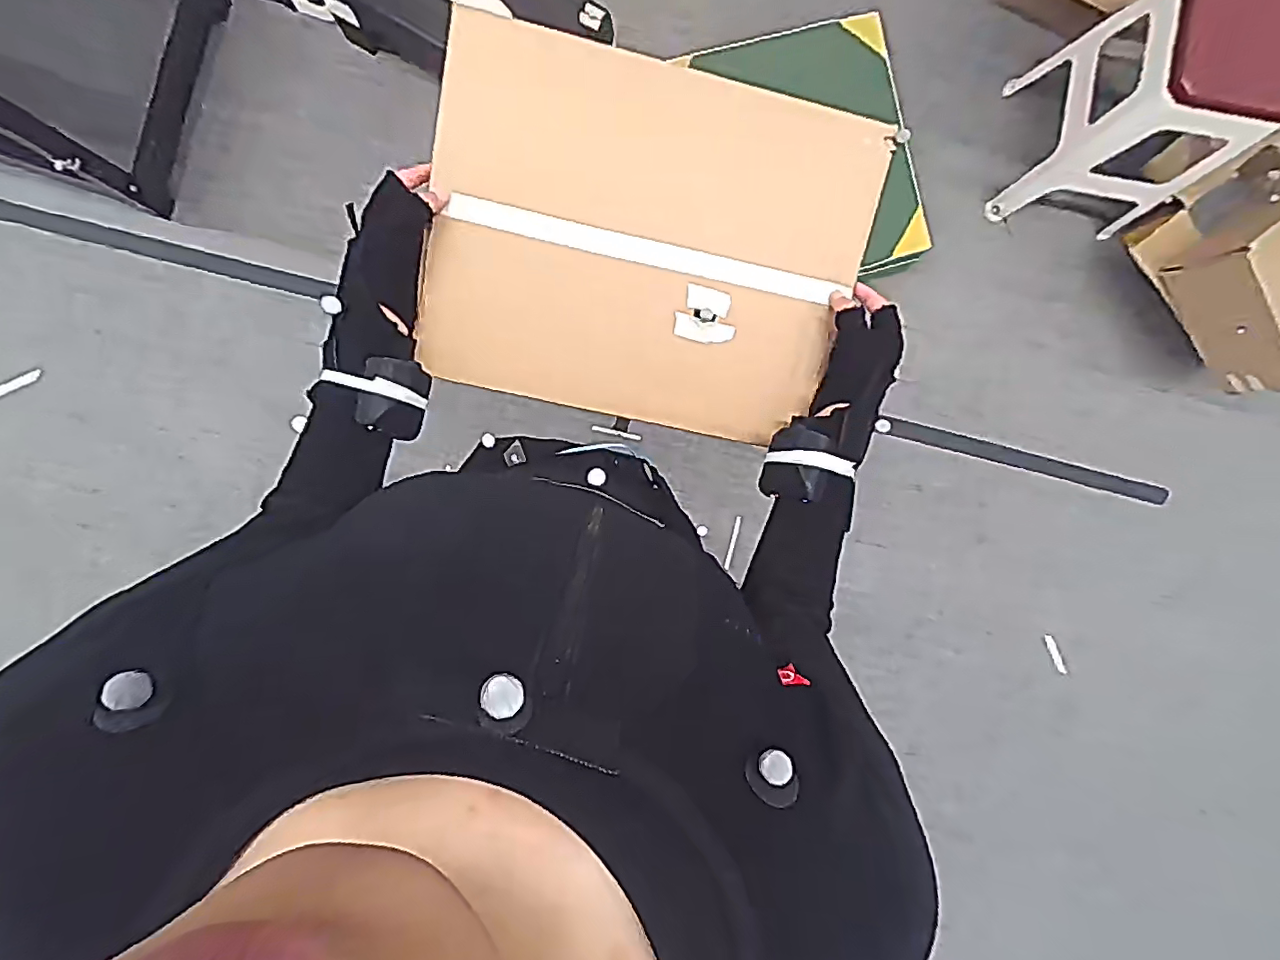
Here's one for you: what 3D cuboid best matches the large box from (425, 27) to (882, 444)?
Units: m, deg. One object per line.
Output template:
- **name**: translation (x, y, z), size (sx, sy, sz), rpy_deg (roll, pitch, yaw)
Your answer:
- **large box**: translation (-0.002, -0.251, 0.669), size (0.408, 0.320, 0.320), rpy_deg (11, 103, -6)
